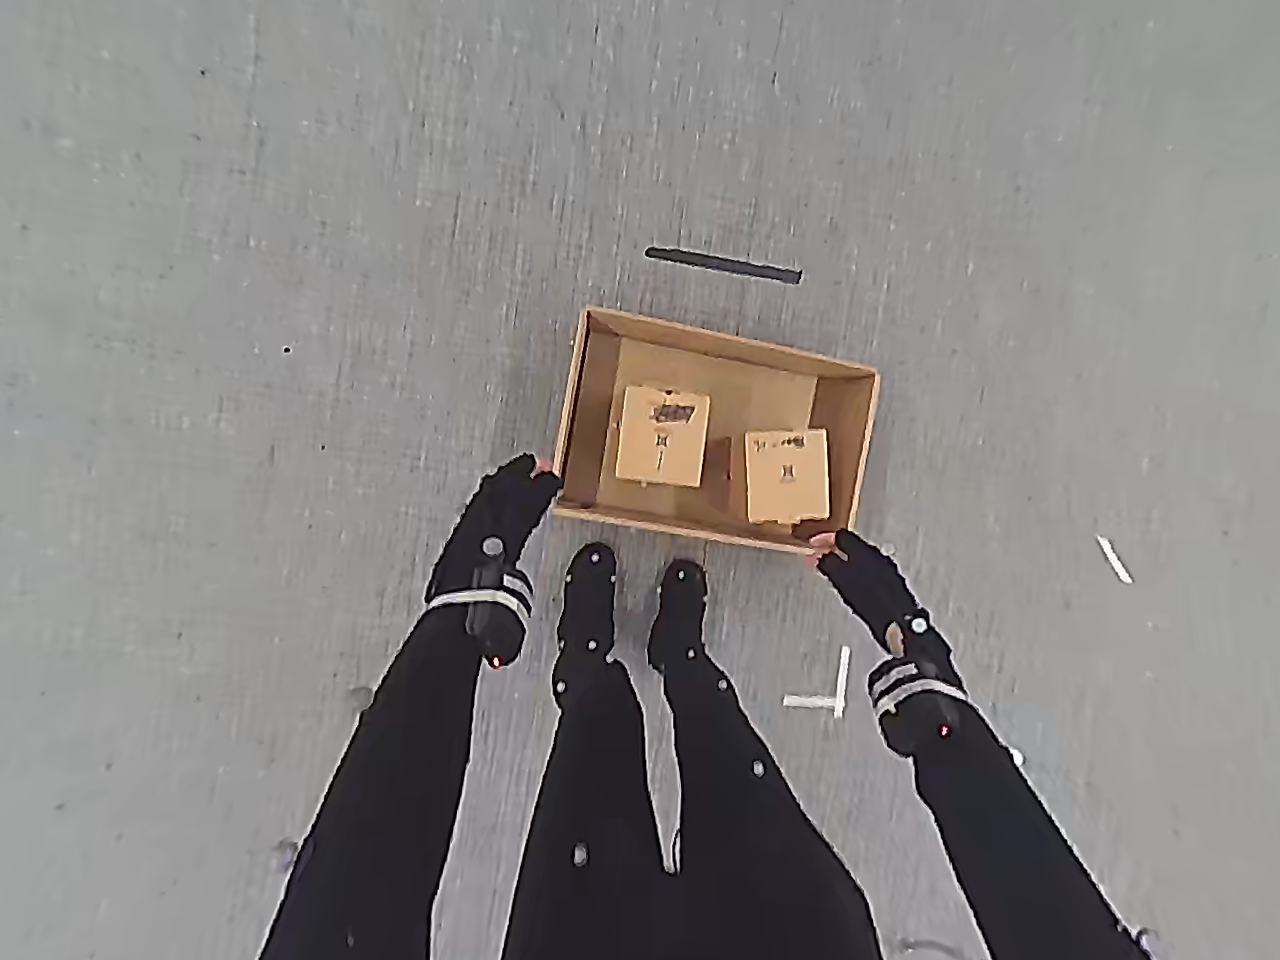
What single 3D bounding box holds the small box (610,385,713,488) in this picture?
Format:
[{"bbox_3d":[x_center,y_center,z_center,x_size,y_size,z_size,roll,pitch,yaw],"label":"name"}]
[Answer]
[{"bbox_3d":[0.035,-0.083,1.089,0.168,0.176,0.179,7,92,-9],"label":"small box"}]
